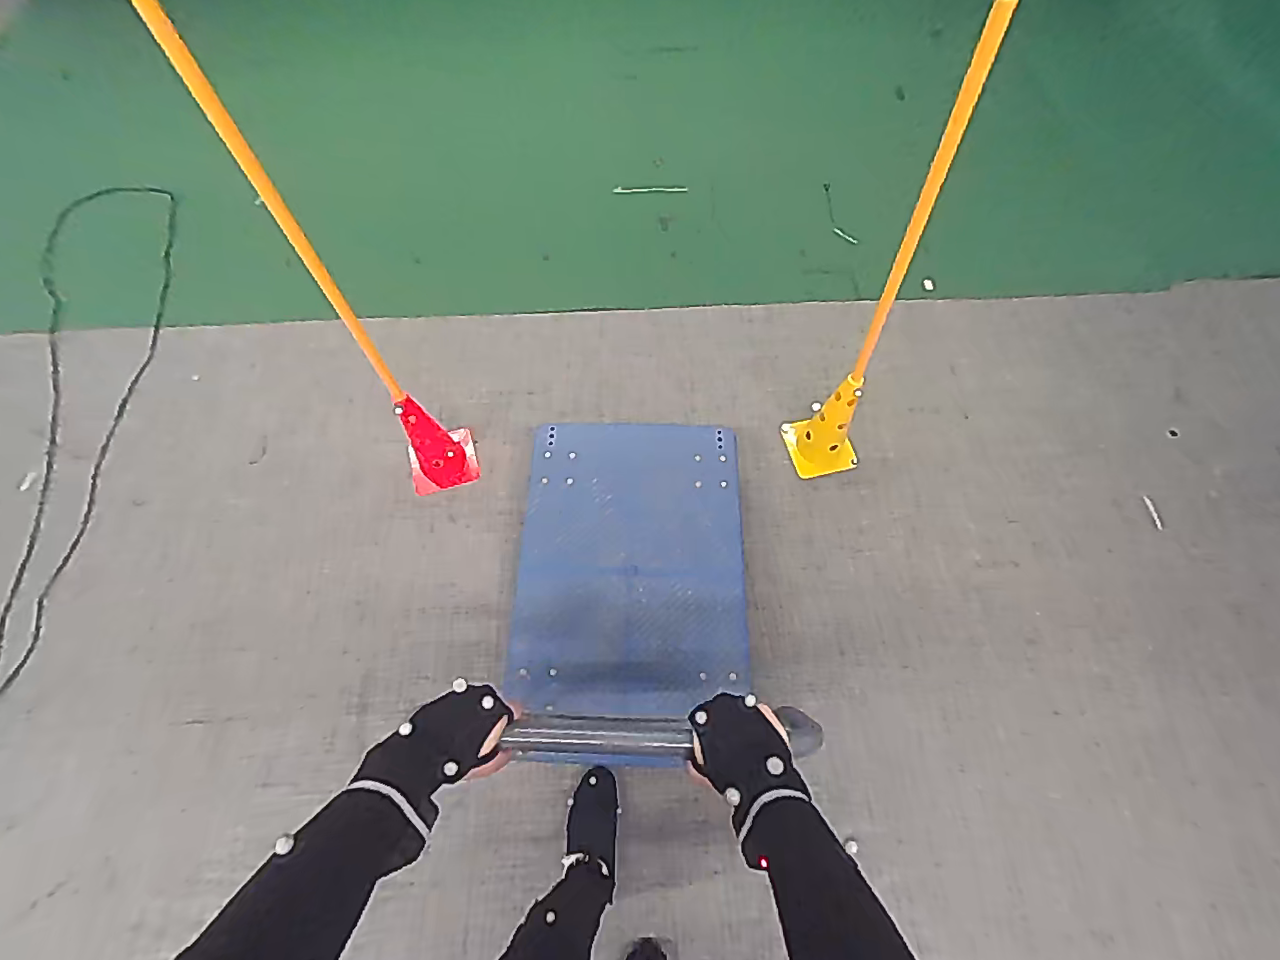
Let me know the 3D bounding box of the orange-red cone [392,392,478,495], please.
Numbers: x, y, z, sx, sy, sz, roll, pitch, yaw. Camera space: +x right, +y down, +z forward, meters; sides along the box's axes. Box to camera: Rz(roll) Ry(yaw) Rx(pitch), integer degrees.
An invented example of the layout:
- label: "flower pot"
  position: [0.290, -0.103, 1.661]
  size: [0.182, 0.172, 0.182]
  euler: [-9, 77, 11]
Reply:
- label: "orange-red cone"
  position: [-0.616, -0.132, 1.537]
  size: [0.199, 0.360, 0.198]
  euler: [-16, 64, -6]
